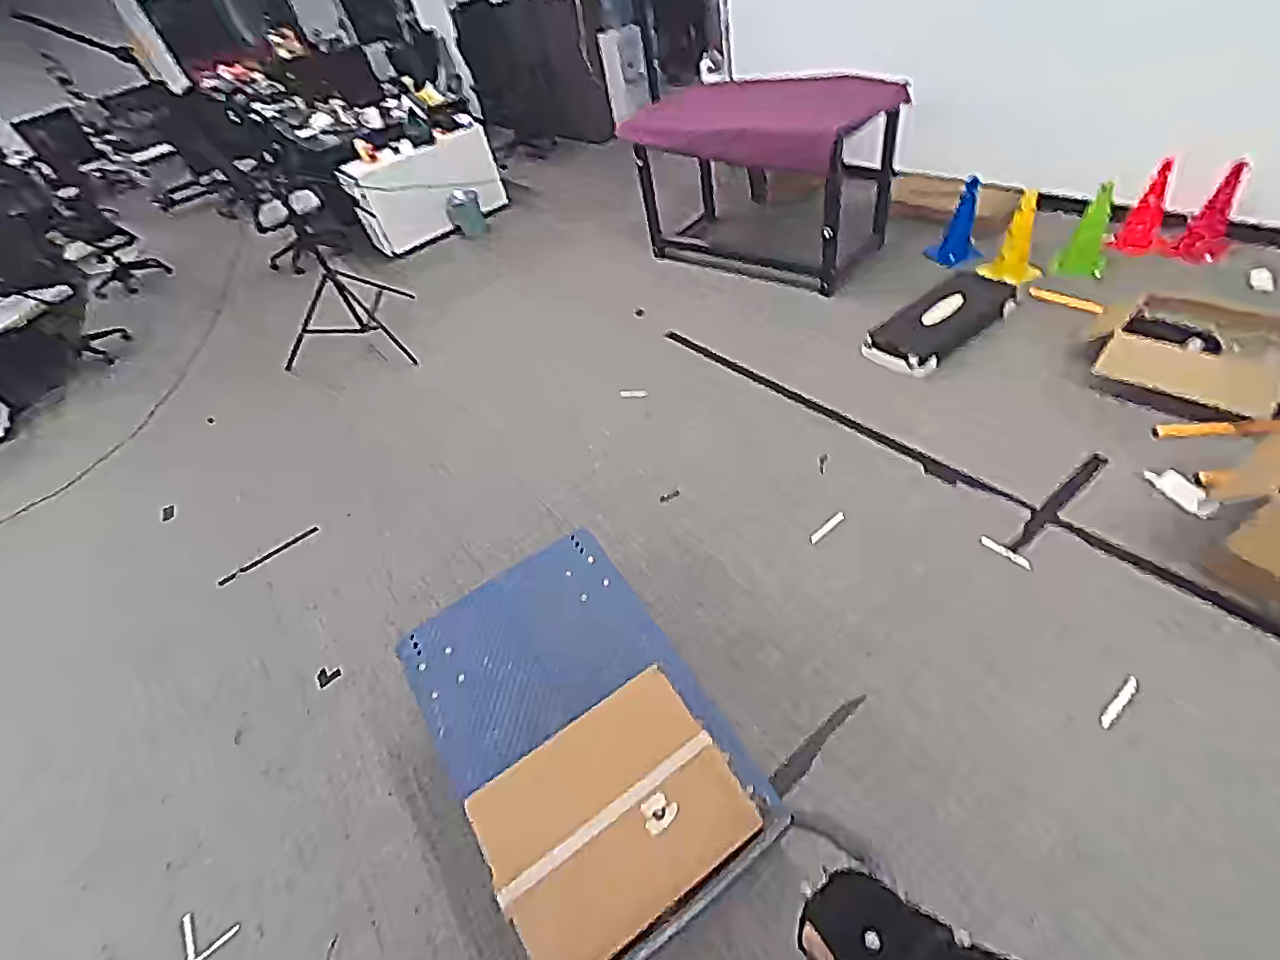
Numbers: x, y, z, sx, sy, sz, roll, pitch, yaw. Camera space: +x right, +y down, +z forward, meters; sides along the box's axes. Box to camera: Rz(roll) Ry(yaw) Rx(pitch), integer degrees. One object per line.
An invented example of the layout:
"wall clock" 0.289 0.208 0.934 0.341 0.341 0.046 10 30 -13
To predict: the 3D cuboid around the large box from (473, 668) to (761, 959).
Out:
"large box" -0.037 0.644 1.037 0.408 0.320 0.320 -31 62 -17
